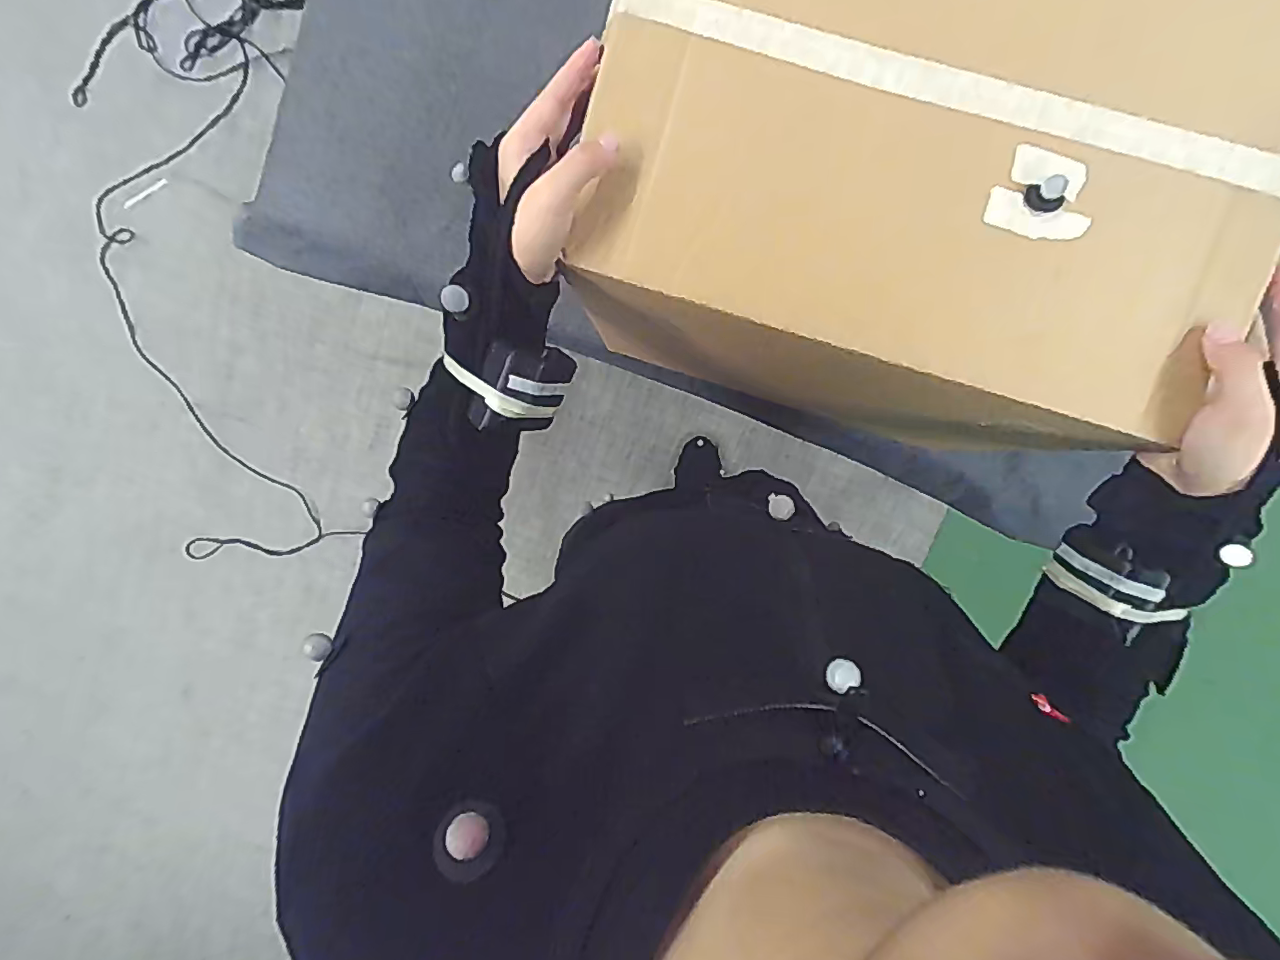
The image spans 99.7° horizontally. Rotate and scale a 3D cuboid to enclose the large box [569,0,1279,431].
[{"bbox_3d":[0.188,-0.246,0.472,0.408,0.320,0.320,17,95,1],"label":"large box"}]
